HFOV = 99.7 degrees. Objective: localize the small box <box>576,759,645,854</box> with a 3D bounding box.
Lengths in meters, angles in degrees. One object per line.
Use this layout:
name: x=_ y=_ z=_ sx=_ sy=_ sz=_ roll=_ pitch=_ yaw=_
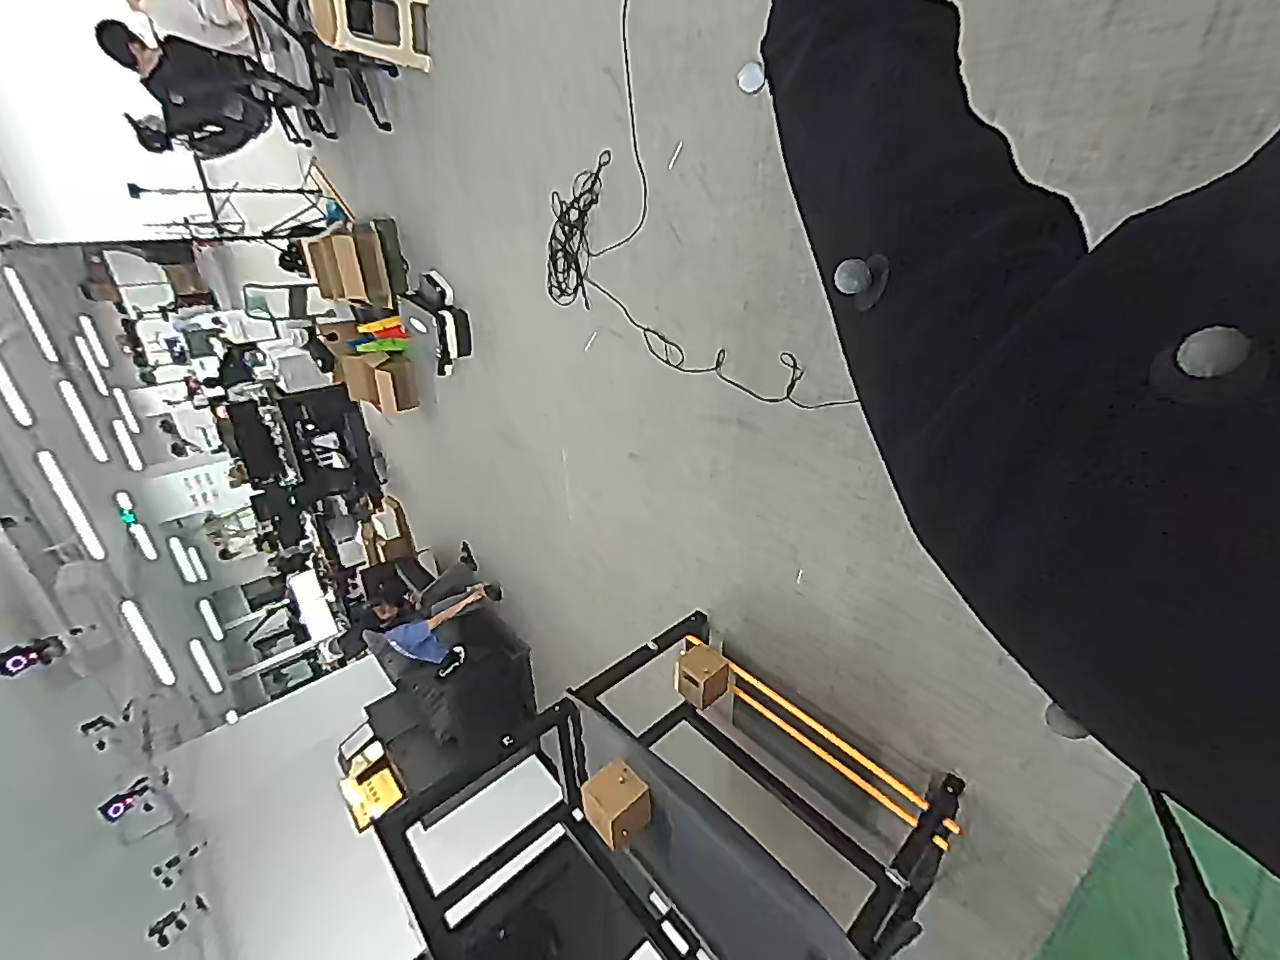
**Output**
small box: x=-0.096 y=1.094 z=1.824 sx=0.168 sy=0.176 sz=0.179 roll=24 pitch=126 yaw=42
